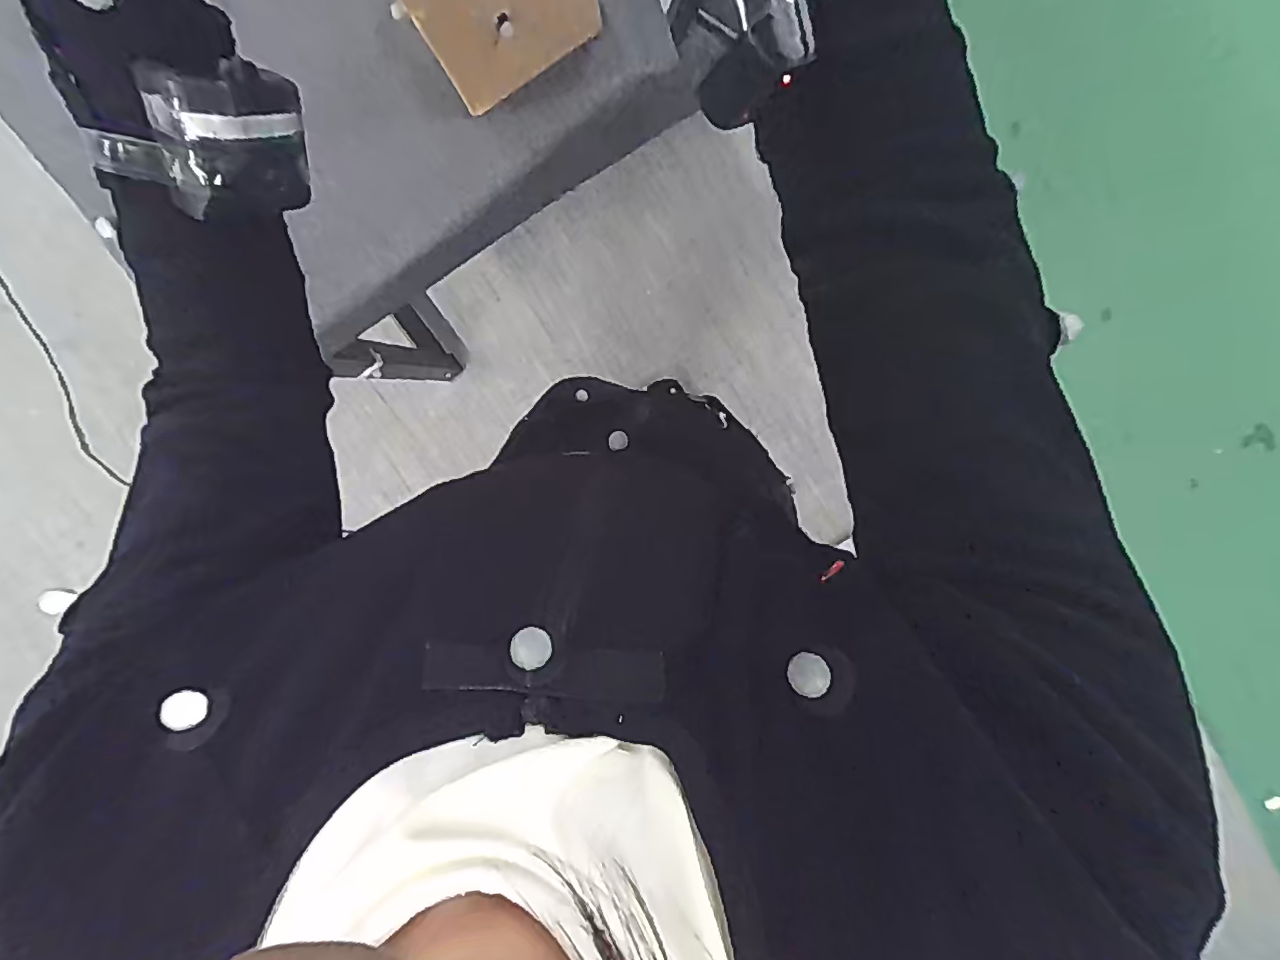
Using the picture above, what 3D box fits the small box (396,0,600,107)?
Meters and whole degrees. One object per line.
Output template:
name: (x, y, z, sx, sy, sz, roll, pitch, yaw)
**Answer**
small box: (-0.158, -0.516, 0.523, 0.179, 0.176, 0.168, -30, 97, 8)
